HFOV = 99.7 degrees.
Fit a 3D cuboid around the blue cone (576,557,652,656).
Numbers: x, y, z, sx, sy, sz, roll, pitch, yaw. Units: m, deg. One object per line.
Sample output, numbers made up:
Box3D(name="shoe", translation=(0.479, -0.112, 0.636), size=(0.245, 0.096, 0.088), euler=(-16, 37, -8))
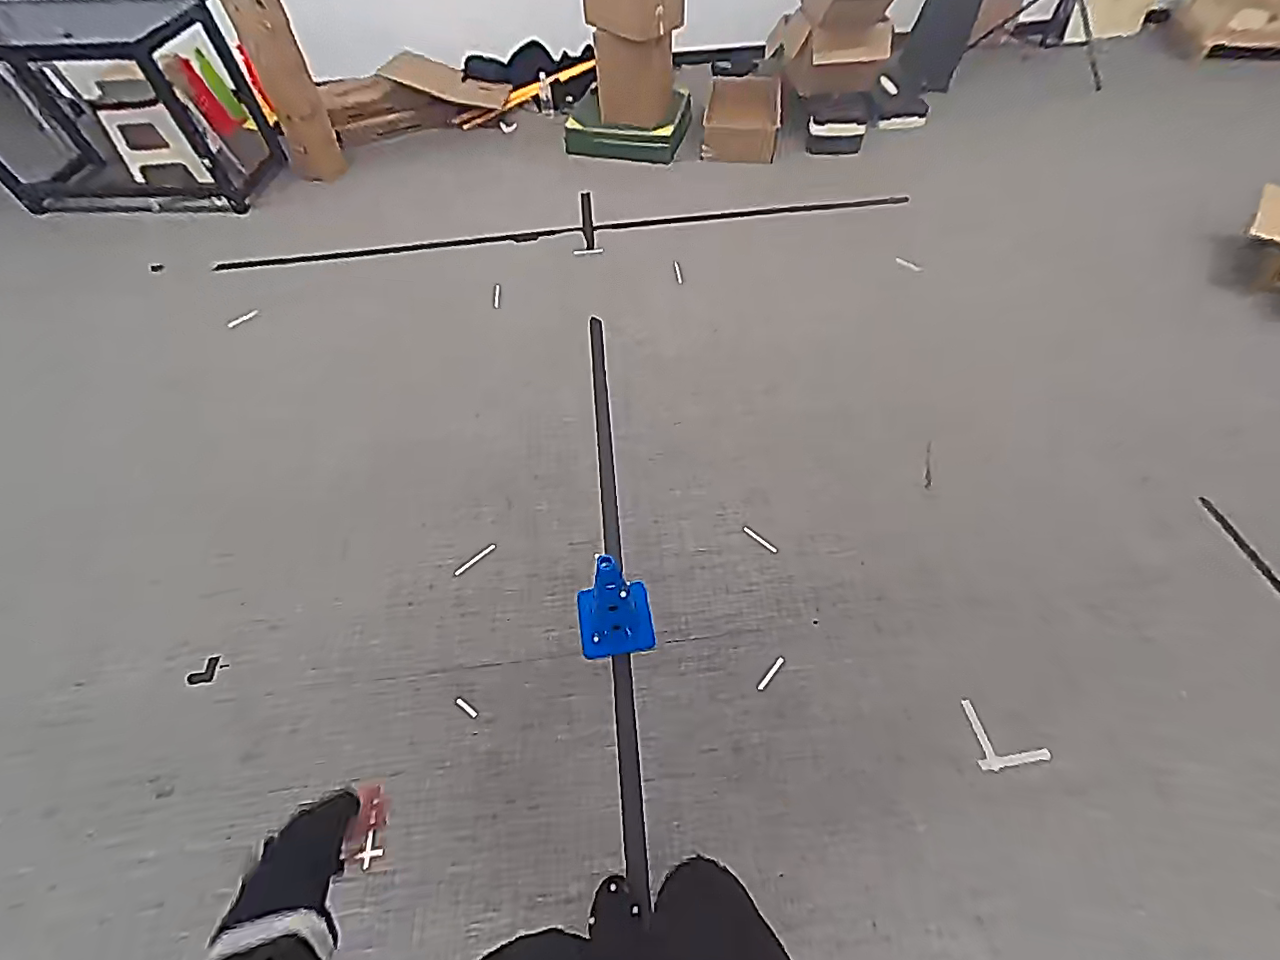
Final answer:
Box3D(name="blue cone", translation=(-0.073, 0.283, 1.346), size=(0.192, 0.380, 0.193), euler=(-10, 57, -6))
